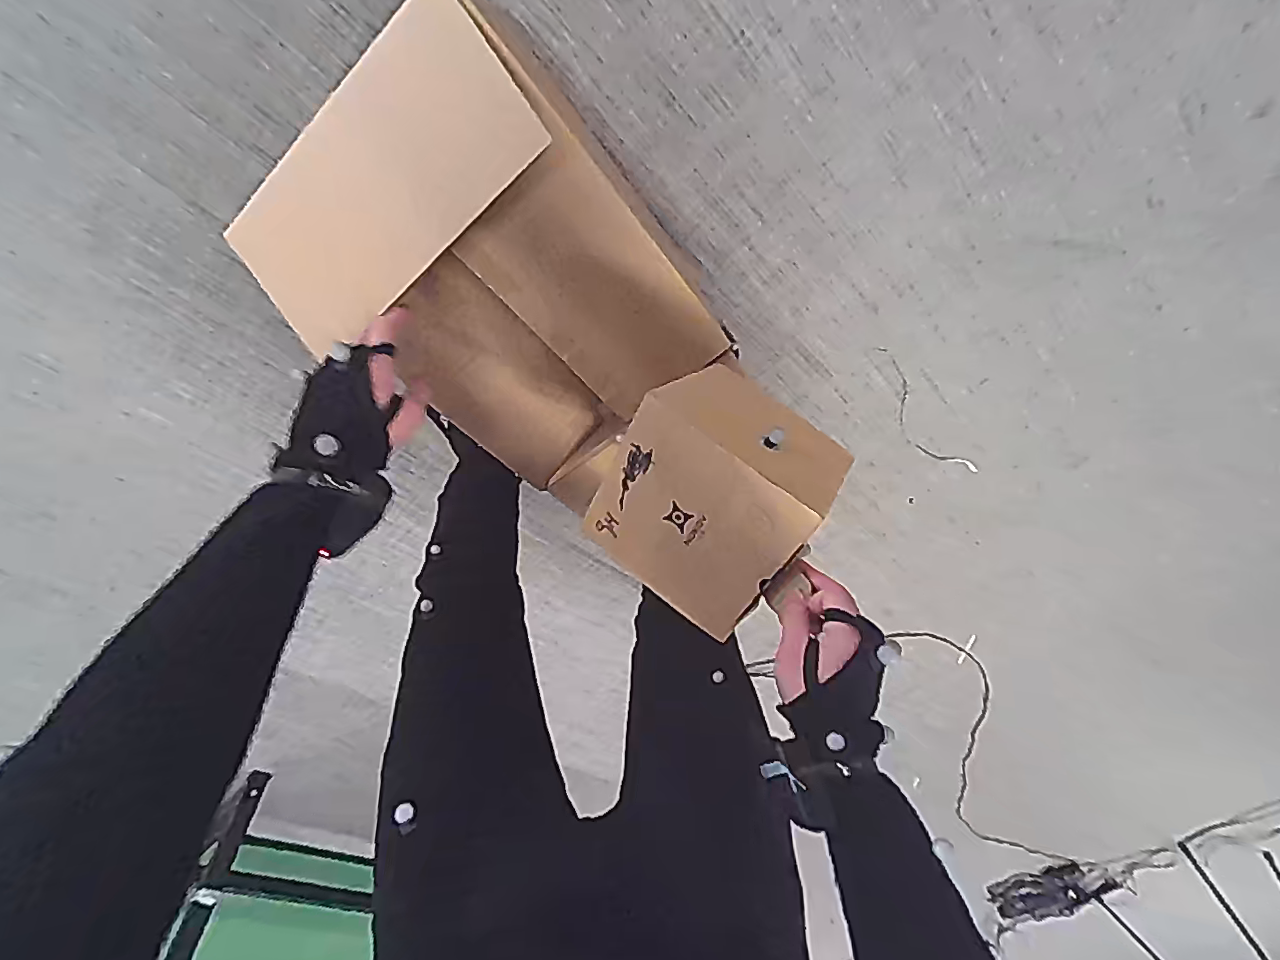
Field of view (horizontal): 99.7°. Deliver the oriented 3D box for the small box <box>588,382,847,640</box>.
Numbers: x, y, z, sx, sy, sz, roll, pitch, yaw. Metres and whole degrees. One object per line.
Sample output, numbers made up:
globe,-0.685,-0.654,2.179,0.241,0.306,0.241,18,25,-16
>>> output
small box,0.083,0.017,0.550,0.179,0.176,0.168,36,122,16
